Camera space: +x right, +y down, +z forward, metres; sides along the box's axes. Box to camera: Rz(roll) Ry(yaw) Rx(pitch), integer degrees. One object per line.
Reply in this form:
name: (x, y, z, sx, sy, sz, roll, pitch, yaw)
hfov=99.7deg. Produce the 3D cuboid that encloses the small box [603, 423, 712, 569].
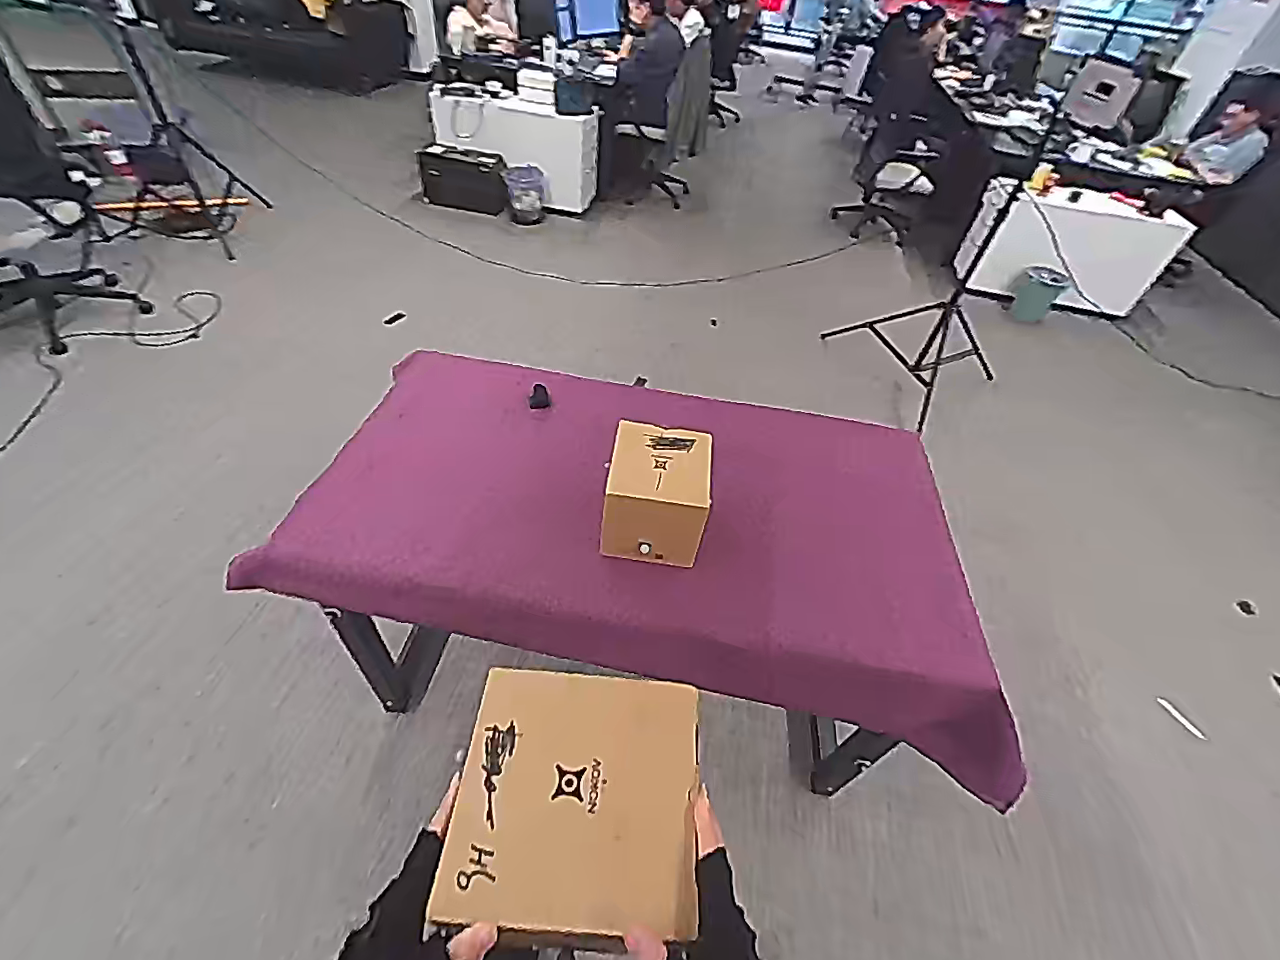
small box: (0.028, 0.028, 0.950, 0.168, 0.176, 0.179, 8, 46, 0)
